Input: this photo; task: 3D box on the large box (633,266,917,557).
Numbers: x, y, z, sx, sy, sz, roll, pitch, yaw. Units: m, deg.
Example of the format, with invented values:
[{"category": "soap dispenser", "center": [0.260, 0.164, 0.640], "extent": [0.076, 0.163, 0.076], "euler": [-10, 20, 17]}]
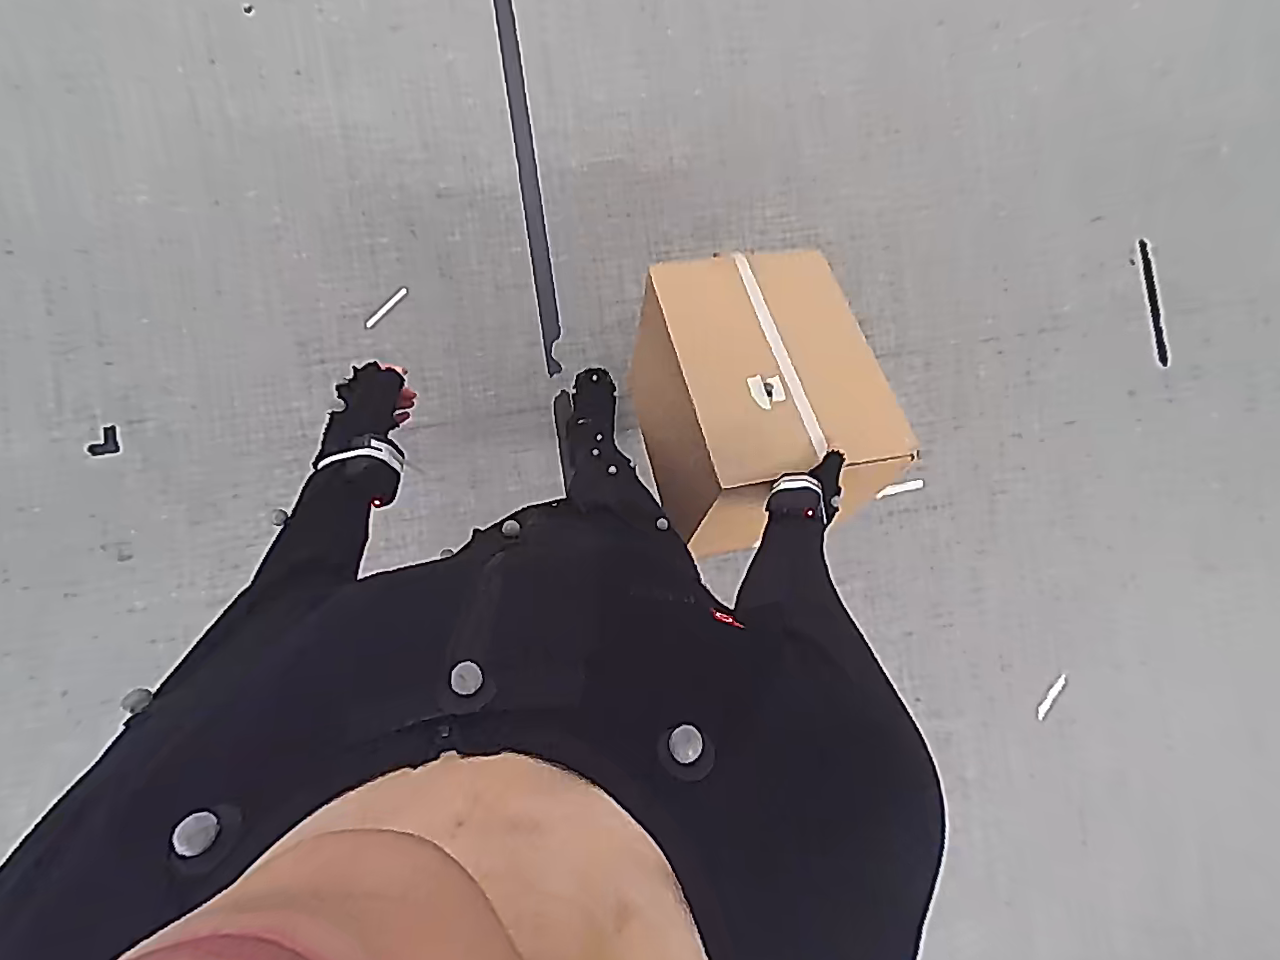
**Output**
[{"category": "large box", "center": [0.197, -0.117, 0.975], "extent": [0.320, 0.320, 0.408], "euler": [-9, 66, -12]}]
